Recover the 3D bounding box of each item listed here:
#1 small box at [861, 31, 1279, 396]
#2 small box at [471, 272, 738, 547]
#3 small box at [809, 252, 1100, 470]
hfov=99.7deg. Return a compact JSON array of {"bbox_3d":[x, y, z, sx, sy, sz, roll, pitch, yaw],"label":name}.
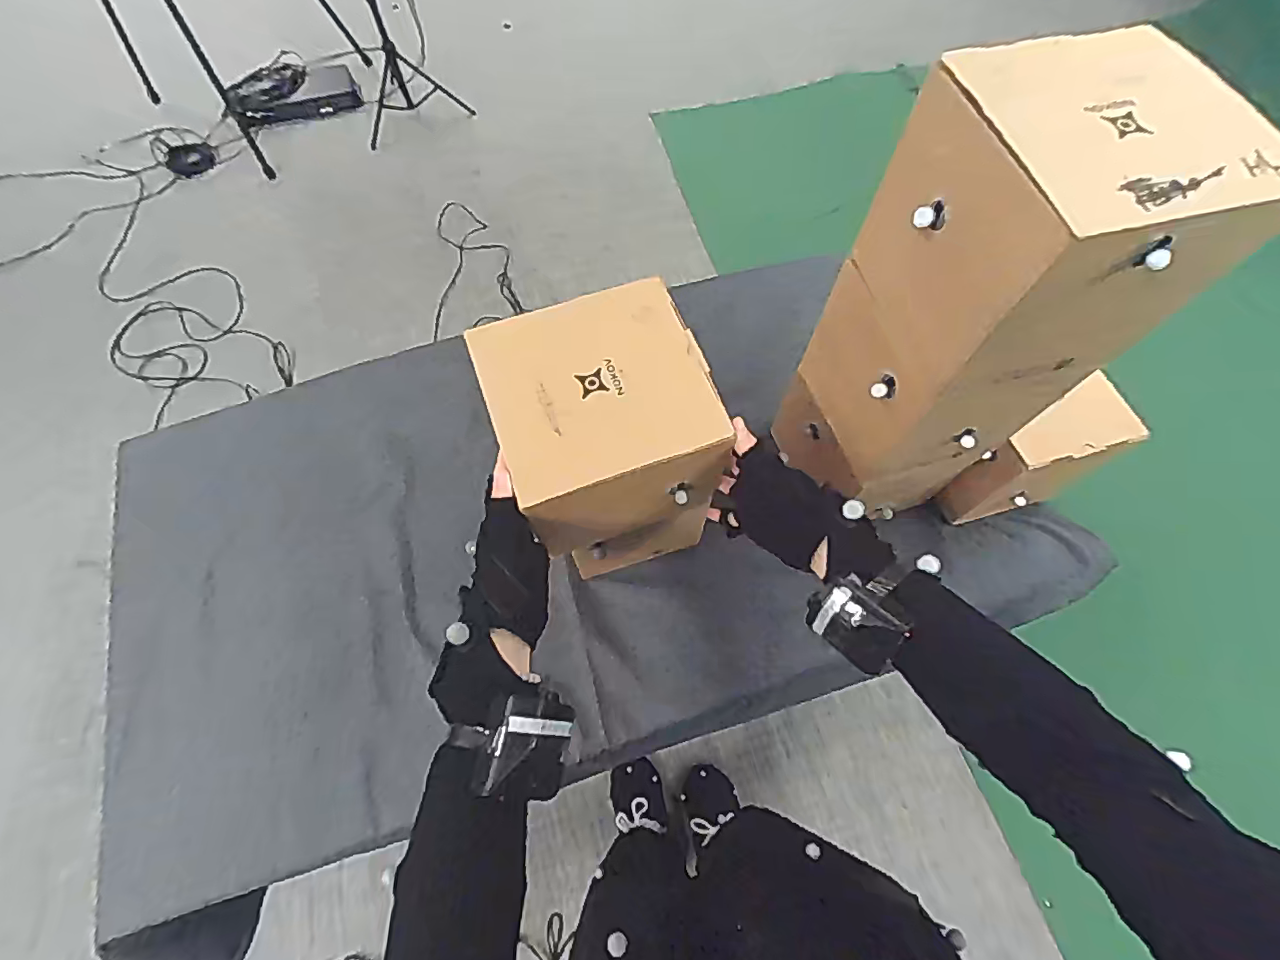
[{"bbox_3d":[0.299,-0.192,0.413,0.168,0.176,0.179,-12,65,-4],"label":"small box"},{"bbox_3d":[-0.033,-0.054,0.503,0.179,0.176,0.168,-19,71,-7],"label":"small box"},{"bbox_3d":[0.301,-0.125,0.563,0.168,0.176,0.179,-14,66,-6],"label":"small box"}]
